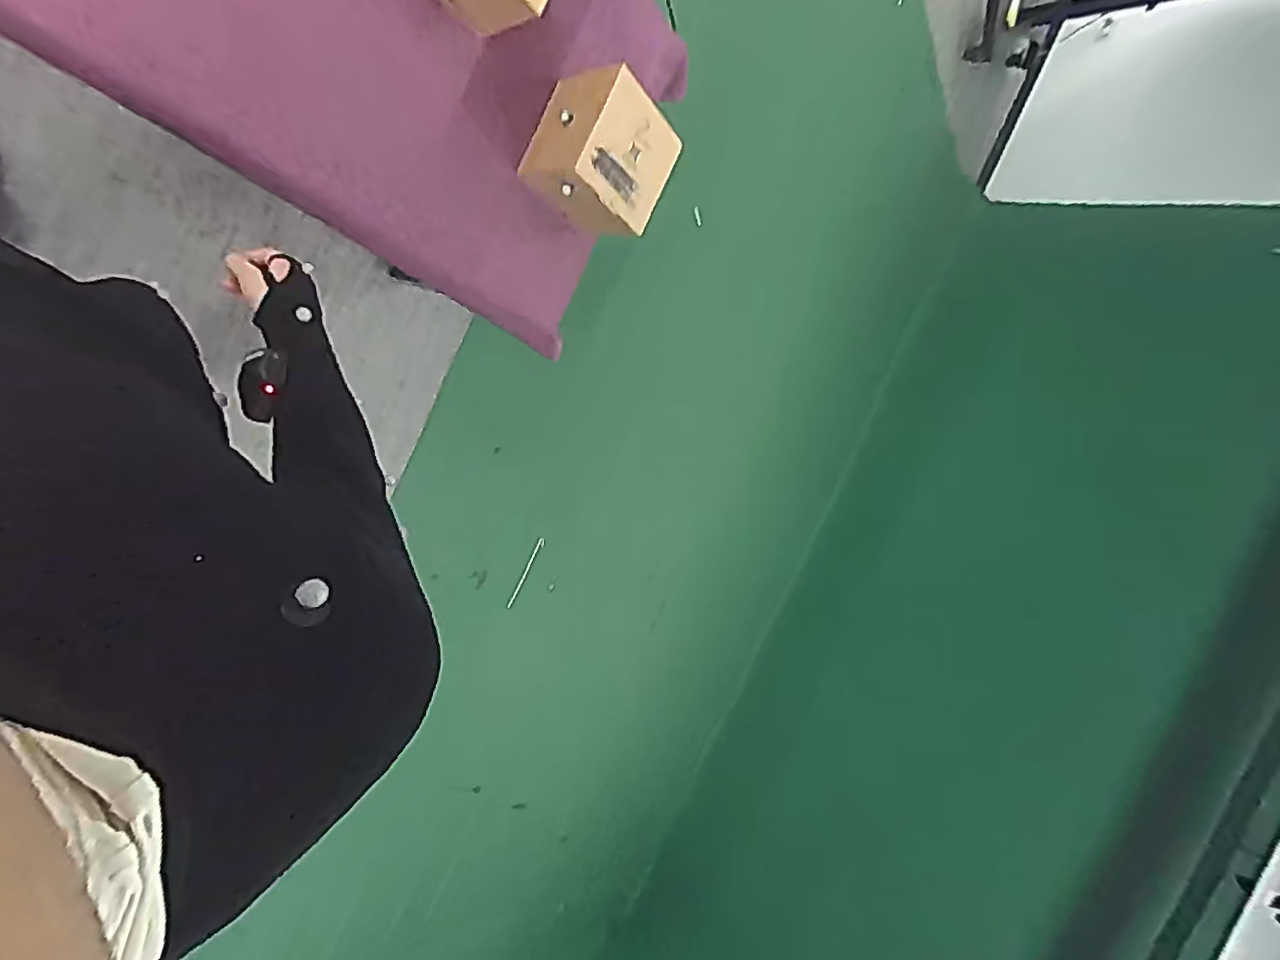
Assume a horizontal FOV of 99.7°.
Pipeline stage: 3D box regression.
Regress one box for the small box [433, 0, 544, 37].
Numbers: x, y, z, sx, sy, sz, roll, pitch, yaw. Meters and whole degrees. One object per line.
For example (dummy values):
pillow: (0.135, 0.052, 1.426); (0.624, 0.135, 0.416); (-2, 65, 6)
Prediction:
small box: (-0.204, -0.720, 0.686); (0.168, 0.176, 0.179); (20, 96, -49)
